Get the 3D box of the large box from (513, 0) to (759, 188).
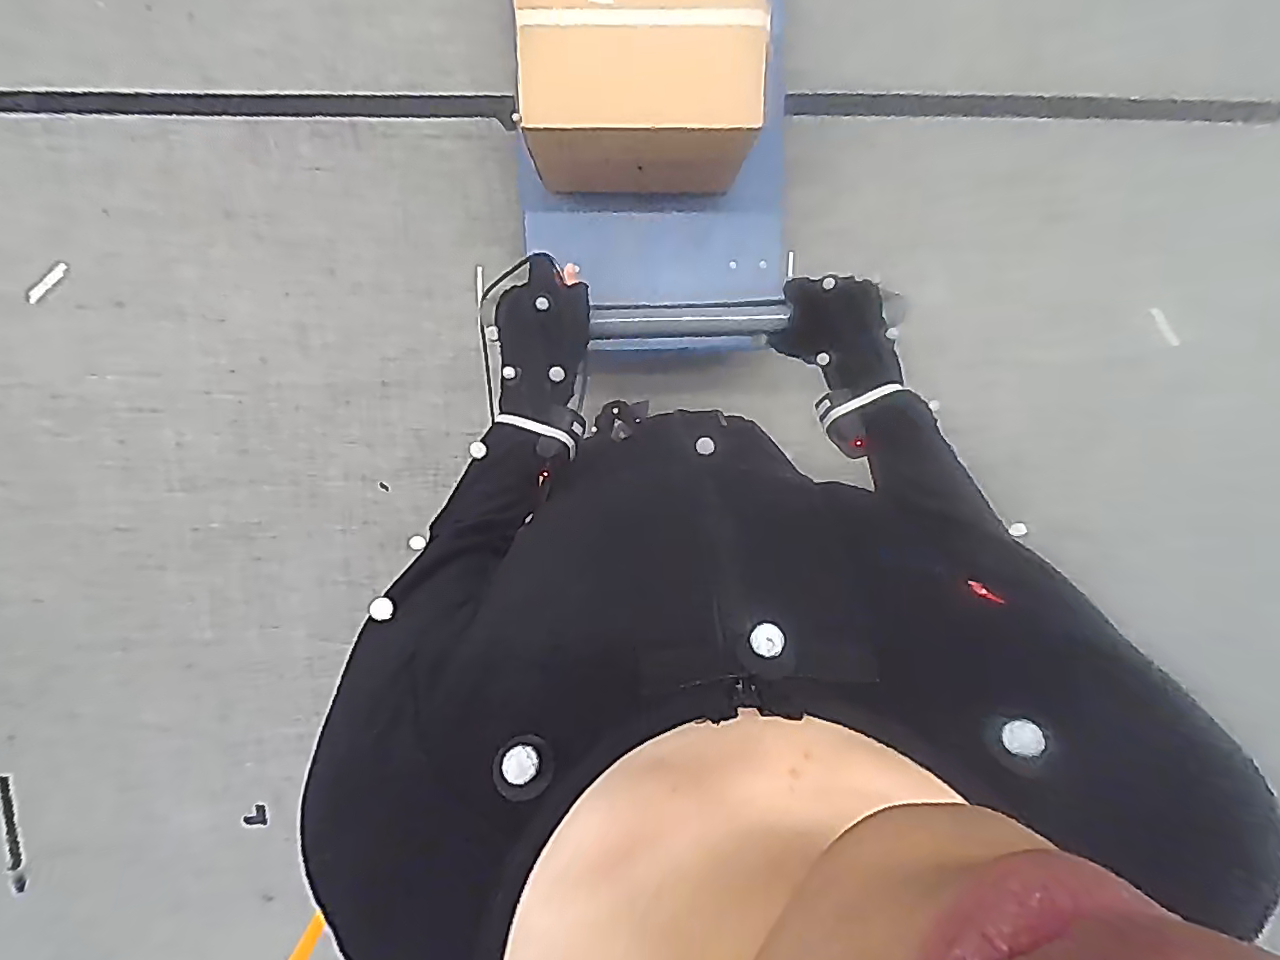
[{"bbox_3d":[-0.006,-0.764,1.017,0.408,0.320,0.320,-1,100,-1],"label":"large box"}]
